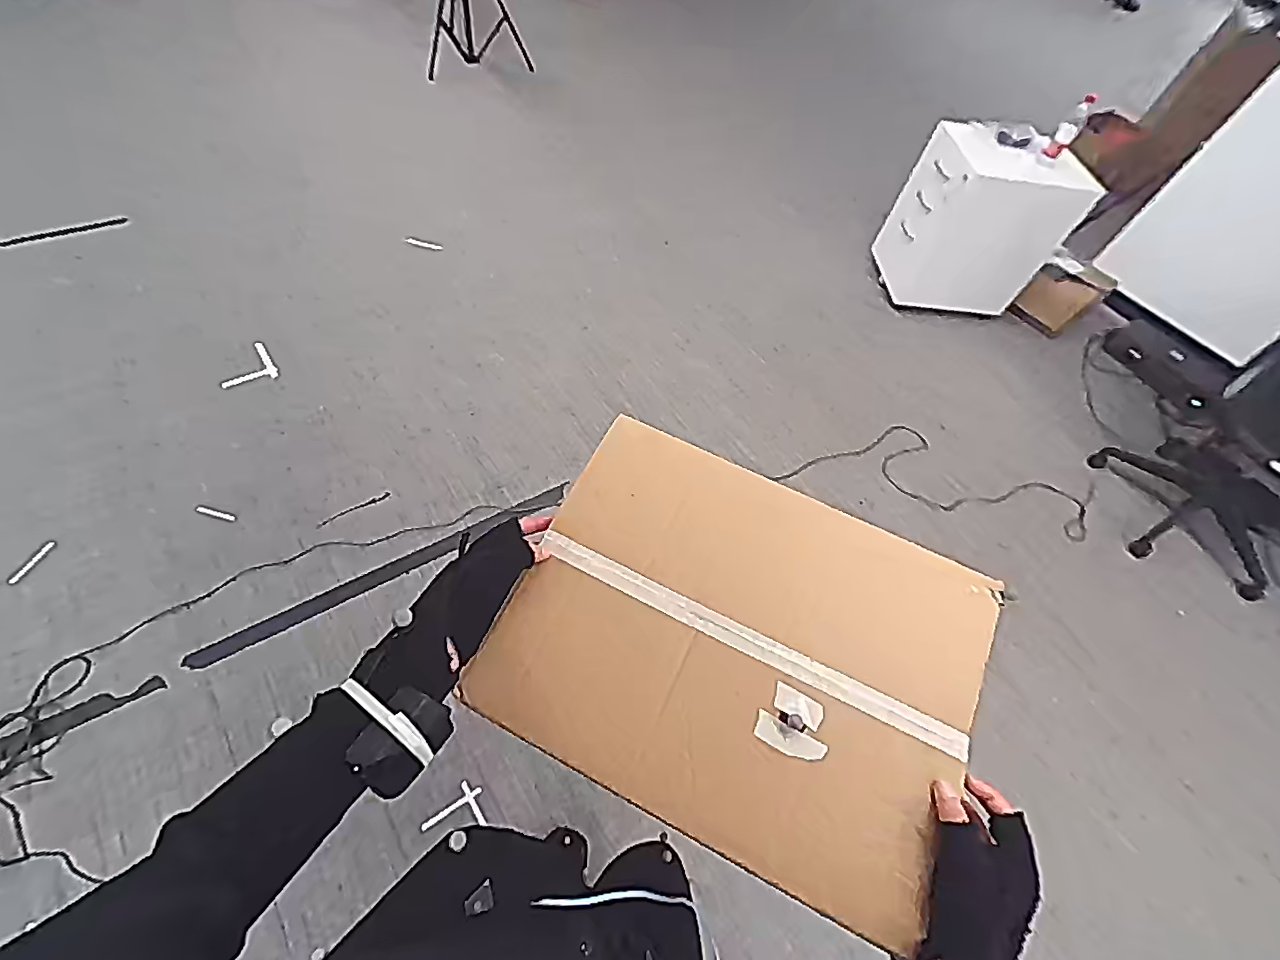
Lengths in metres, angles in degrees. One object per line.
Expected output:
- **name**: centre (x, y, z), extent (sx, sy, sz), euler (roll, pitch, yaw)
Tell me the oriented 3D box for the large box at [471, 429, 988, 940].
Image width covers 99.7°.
- **large box**: centre (0.088, 0.206, 0.630), extent (0.408, 0.320, 0.320), euler (25, 69, 10)
